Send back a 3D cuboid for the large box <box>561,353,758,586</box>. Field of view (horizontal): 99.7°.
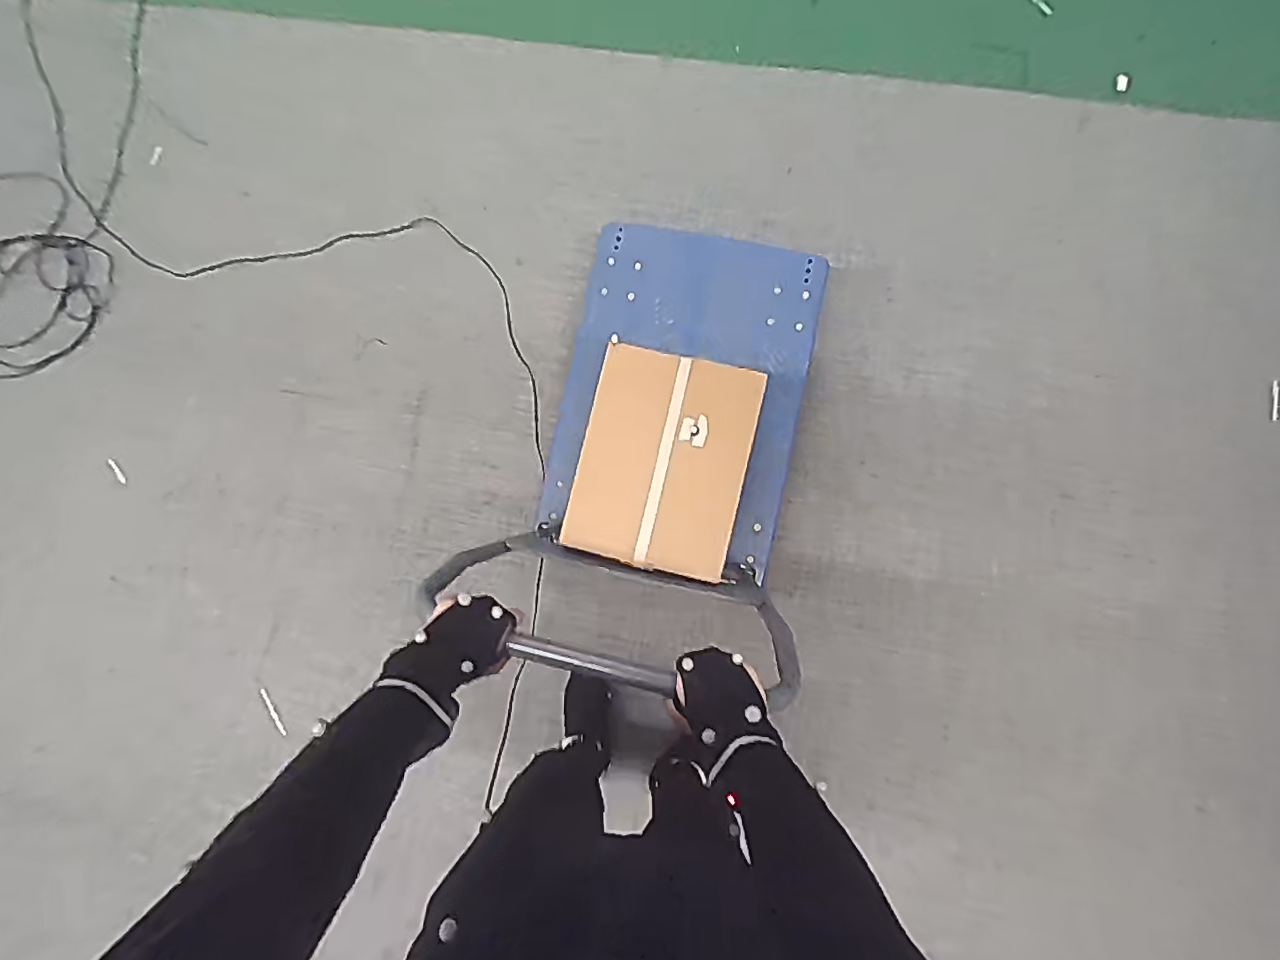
[{"bbox_3d":[0.051,-0.012,1.173,0.320,0.320,0.408,13,87,6],"label":"large box"}]
